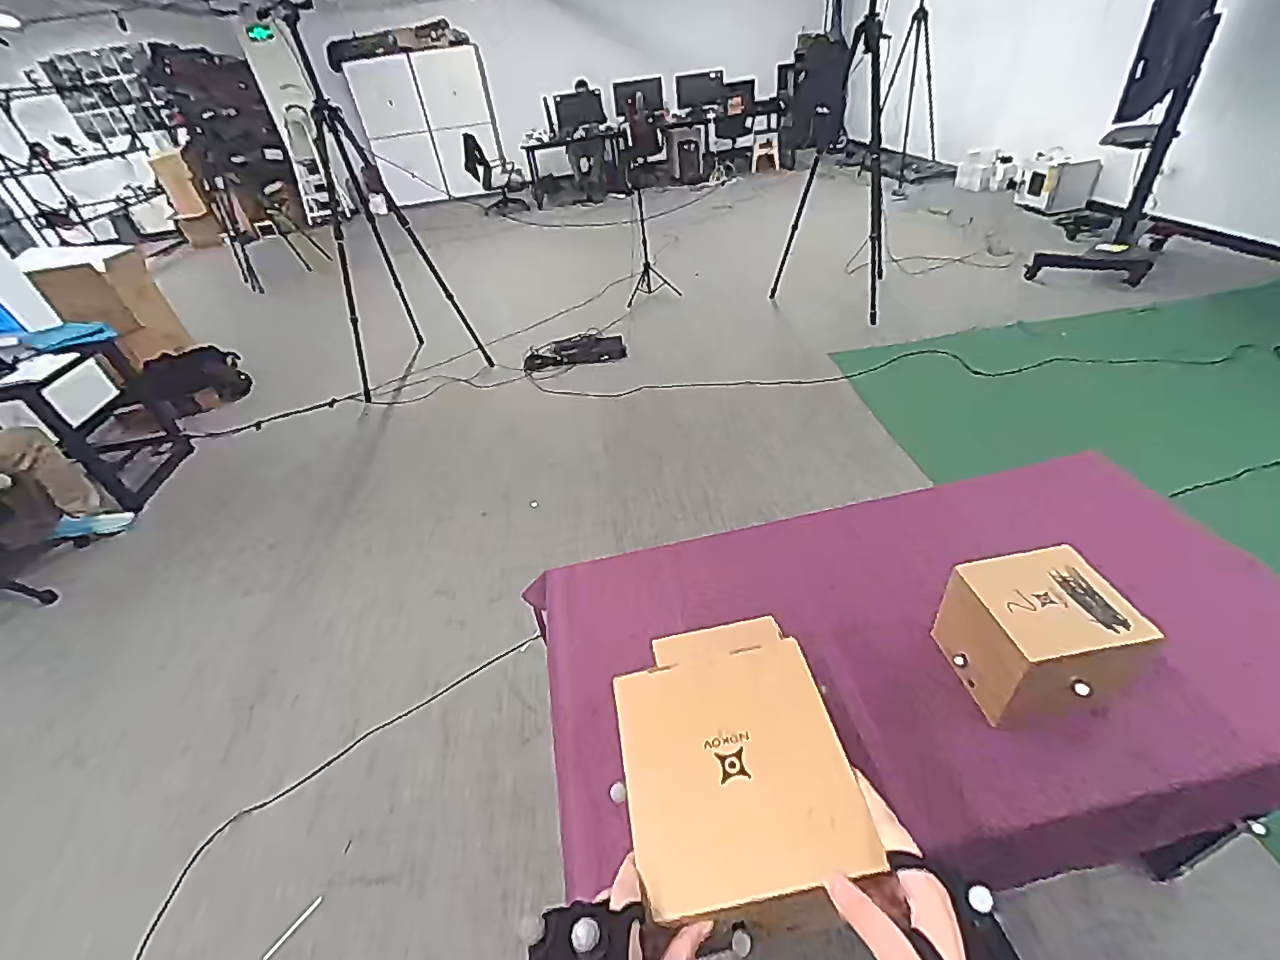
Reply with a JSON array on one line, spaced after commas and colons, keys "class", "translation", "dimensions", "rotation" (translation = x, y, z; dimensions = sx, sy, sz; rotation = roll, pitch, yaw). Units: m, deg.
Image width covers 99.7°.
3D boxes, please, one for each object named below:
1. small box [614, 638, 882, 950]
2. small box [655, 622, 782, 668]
[{"class": "small box", "translation": [0.082, 0.270, 0.463], "dimensions": [0.168, 0.176, 0.179], "rotation": [-13, 40, 0]}, {"class": "small box", "translation": [0.124, 0.325, 0.737], "dimensions": [0.179, 0.176, 0.168], "rotation": [-11, 37, -2]}]
